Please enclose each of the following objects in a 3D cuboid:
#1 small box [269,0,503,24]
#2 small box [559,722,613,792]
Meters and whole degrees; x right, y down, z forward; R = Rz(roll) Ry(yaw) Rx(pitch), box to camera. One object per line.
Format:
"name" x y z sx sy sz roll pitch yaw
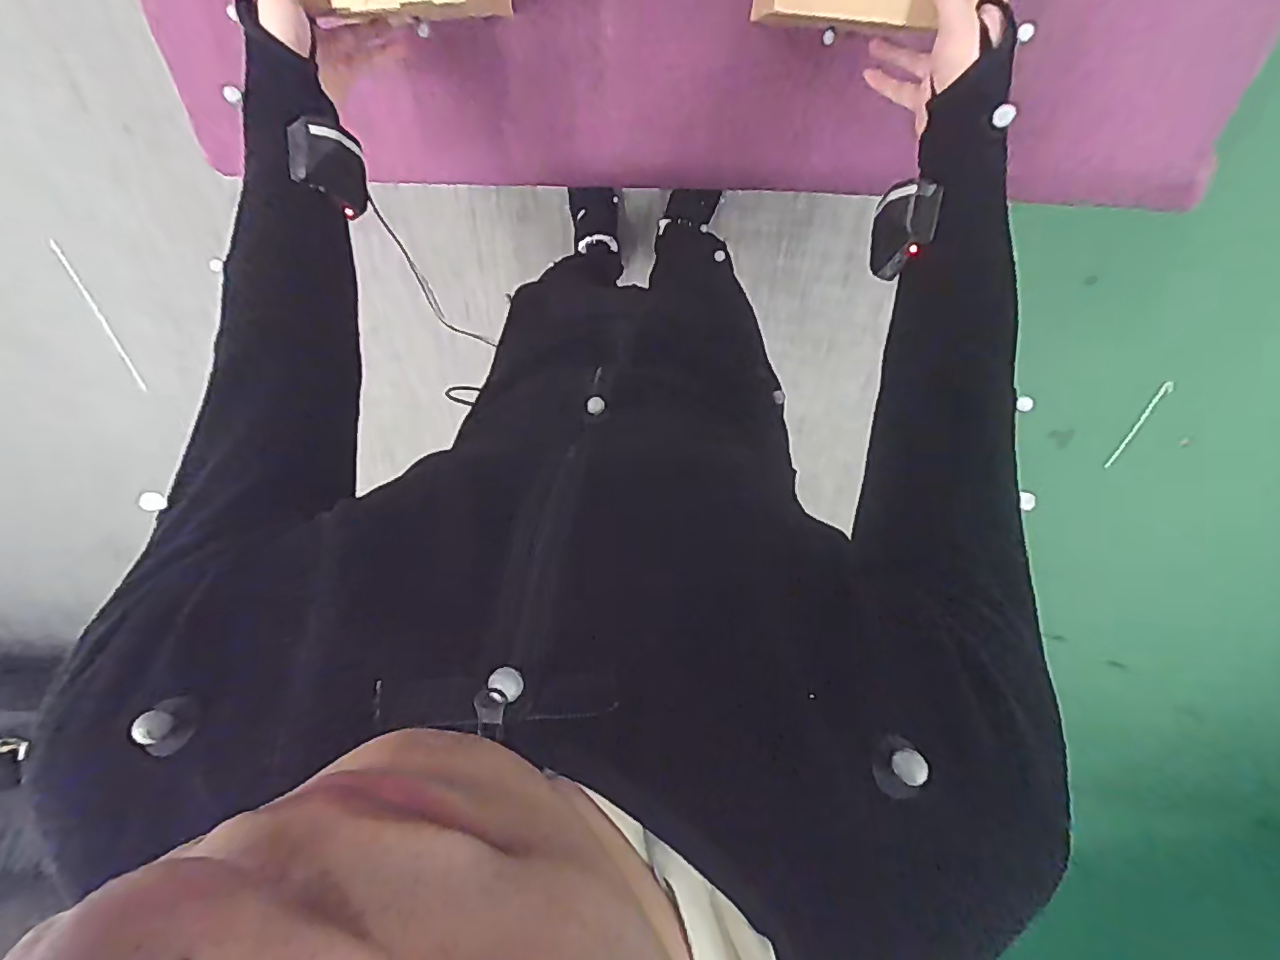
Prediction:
"small box" -0.229 -0.513 0.462 0.168 0.176 0.179 0 128 4
"small box" -0.191 0.996 1.951 0.168 0.176 0.179 10 129 -3
